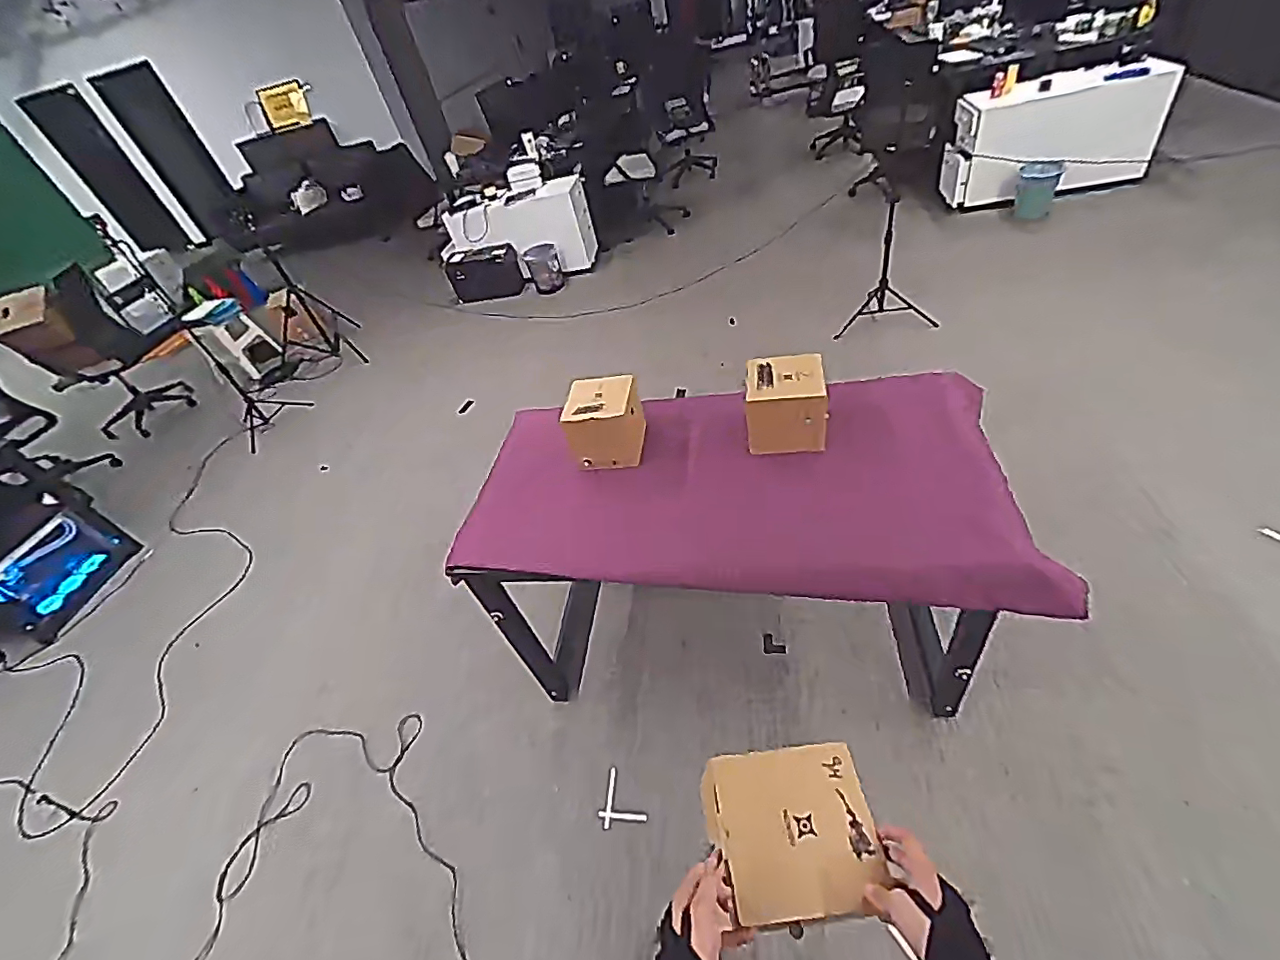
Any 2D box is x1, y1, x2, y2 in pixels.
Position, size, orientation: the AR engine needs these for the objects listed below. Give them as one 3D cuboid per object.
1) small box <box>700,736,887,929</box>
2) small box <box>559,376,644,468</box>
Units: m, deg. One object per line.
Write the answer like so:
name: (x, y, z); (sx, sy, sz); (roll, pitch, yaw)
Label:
small box: (0.173, 0.443, 0.677); (0.179, 0.176, 0.168); (-6, 47, -2)
small box: (-0.092, -0.144, 1.408); (0.168, 0.176, 0.179); (-4, 44, 13)
